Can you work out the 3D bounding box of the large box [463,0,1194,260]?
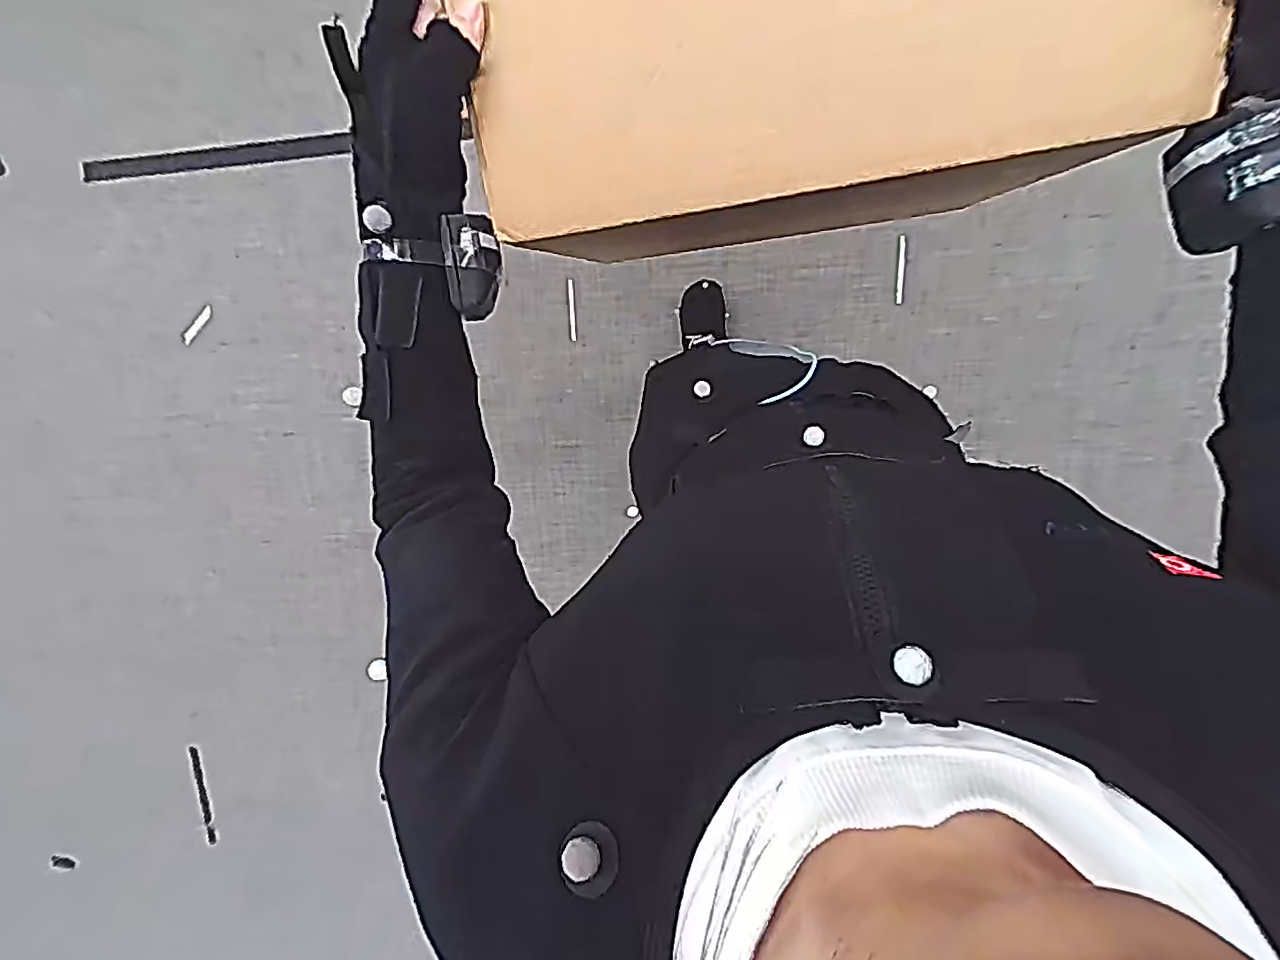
[{"bbox_3d":[0.101,-0.379,0.428,0.408,0.320,0.320,-5,109,10],"label":"large box"}]
